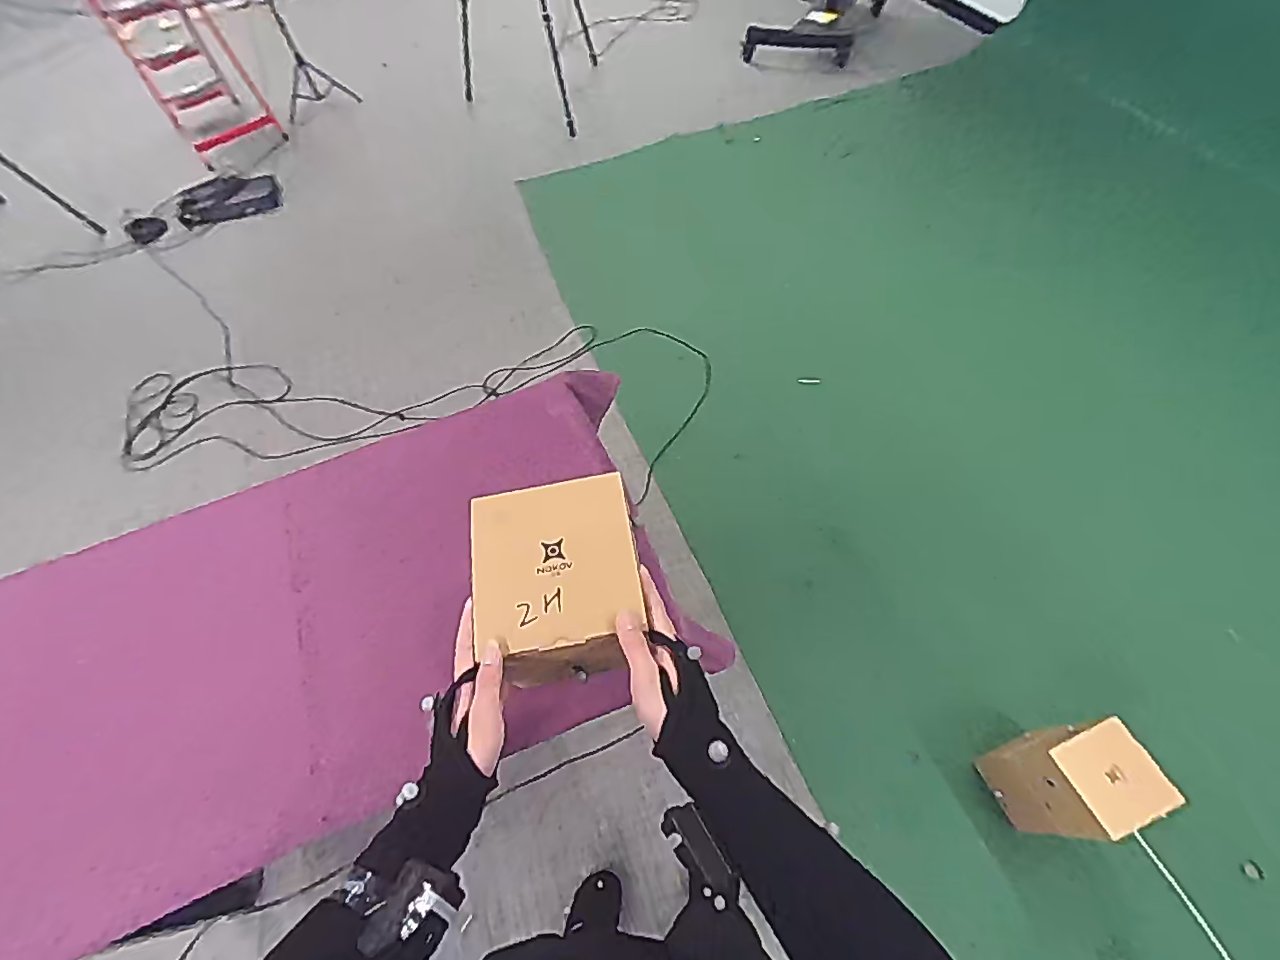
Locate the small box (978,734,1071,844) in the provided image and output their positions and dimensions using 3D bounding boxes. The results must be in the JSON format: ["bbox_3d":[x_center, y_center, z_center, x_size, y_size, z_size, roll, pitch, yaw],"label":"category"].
[{"bbox_3d":[0.938,0.712,1.252,0.179,0.176,0.168,-22,59,-8],"label":"small box"}]

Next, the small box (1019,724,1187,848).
[{"bbox_3d":[0.929,0.631,1.113,0.179,0.176,0.168,-21,59,-9],"label":"small box"}]

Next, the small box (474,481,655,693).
[{"bbox_3d":[-0.078,0.126,0.609,0.168,0.176,0.179,-10,60,0],"label":"small box"}]
